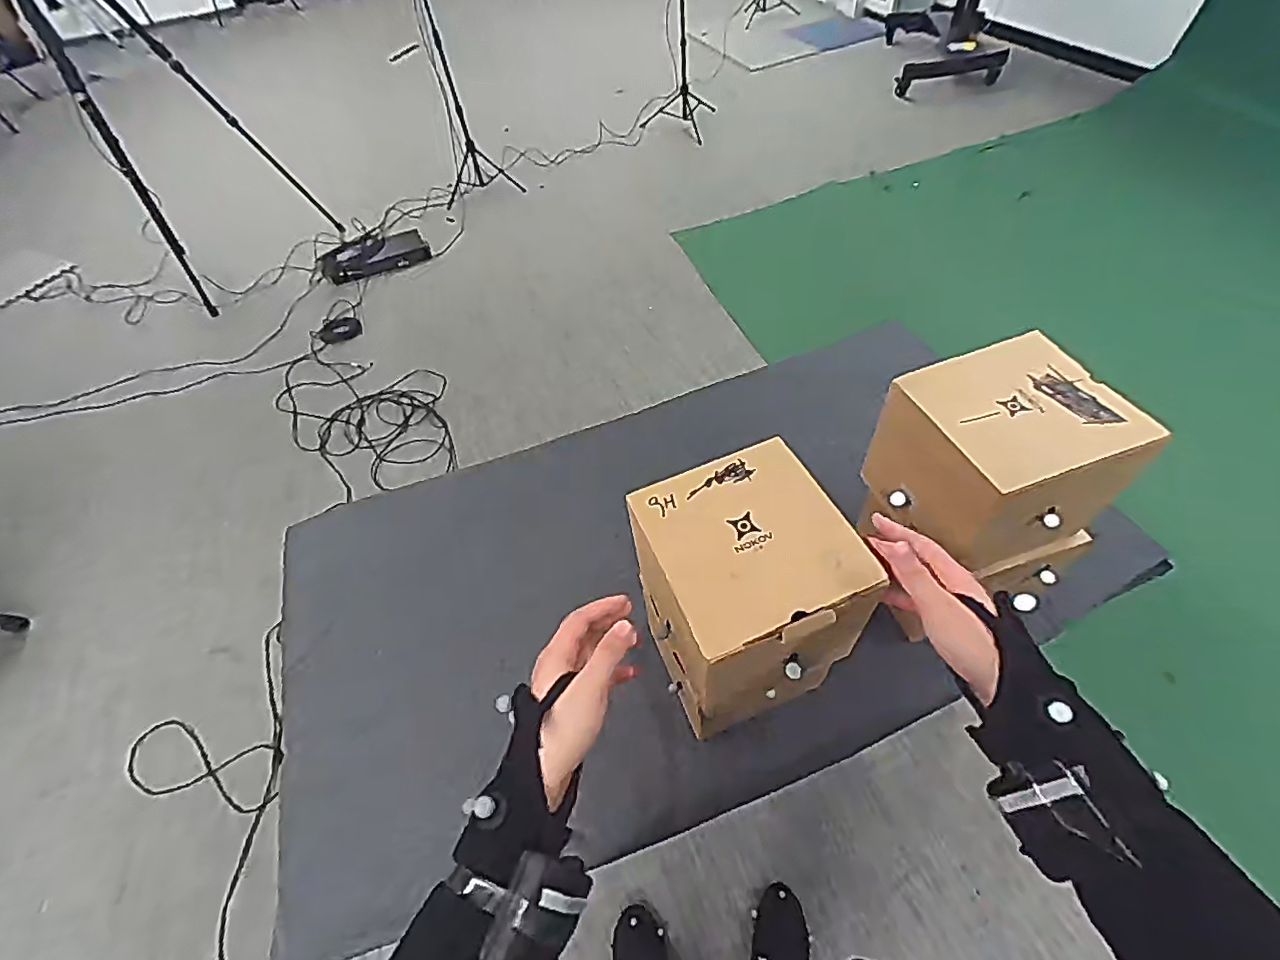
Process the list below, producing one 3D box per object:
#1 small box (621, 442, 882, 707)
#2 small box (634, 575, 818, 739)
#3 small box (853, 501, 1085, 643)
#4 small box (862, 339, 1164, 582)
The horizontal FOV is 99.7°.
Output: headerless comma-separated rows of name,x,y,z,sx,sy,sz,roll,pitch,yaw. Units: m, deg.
small box,0.095,0.100,0.526,0.168,0.176,0.179,-21,54,-9
small box,0.108,0.191,0.663,0.179,0.176,0.168,-20,54,-10
small box,0.403,0.087,0.705,0.179,0.176,0.168,-16,52,-5
small box,0.371,-0.017,0.581,0.179,0.176,0.168,-18,52,-6
